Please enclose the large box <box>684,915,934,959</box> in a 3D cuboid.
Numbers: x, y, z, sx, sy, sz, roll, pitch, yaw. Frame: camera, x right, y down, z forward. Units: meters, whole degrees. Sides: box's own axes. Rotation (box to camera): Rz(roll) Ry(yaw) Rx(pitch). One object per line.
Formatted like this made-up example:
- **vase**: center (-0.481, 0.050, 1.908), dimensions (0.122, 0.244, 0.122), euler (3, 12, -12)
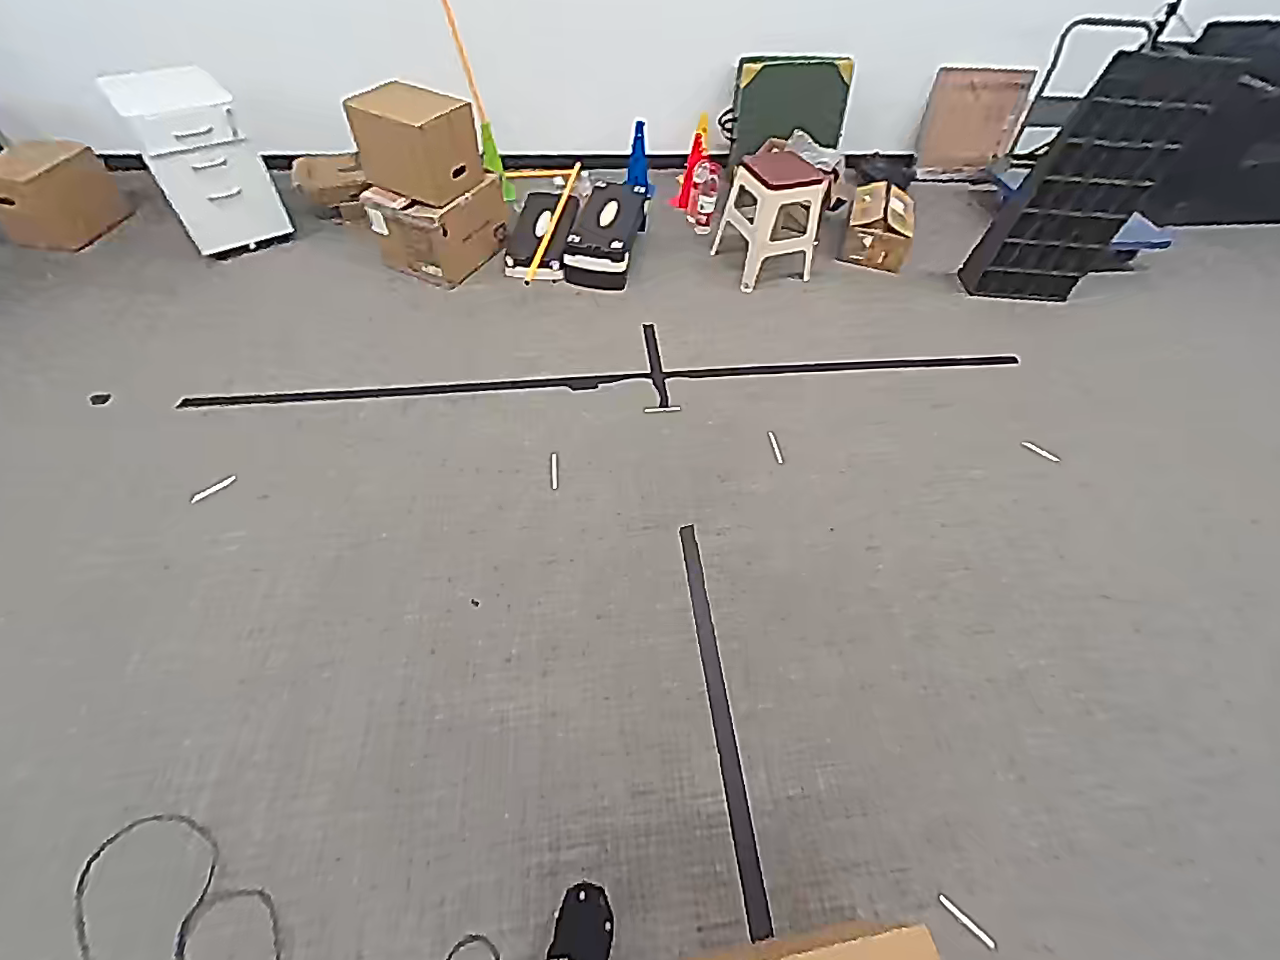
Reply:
- **large box**: center (0.307, 0.988, 0.926), dimensions (0.408, 0.320, 0.320), euler (-7, 52, -8)
